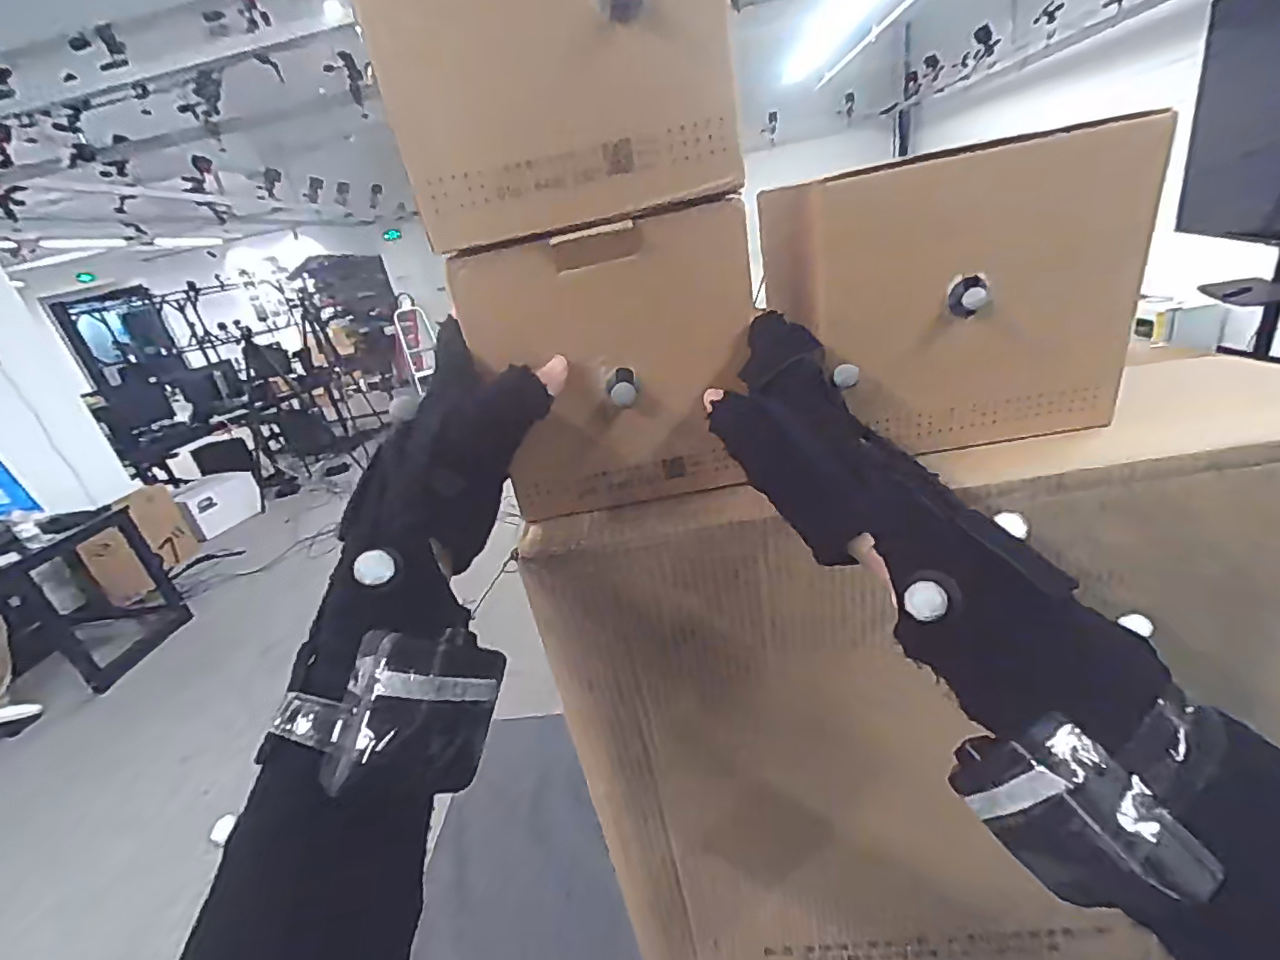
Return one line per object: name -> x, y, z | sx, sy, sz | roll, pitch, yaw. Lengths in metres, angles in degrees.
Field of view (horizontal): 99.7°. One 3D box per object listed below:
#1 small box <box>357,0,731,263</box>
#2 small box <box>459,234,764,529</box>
small box -> -0.045, -0.234, 0.328 | 0.168, 0.176, 0.179 | -9, 24, 3
small box -> -0.012, -0.076, 0.410 | 0.168, 0.176, 0.179 | -12, 25, 2
